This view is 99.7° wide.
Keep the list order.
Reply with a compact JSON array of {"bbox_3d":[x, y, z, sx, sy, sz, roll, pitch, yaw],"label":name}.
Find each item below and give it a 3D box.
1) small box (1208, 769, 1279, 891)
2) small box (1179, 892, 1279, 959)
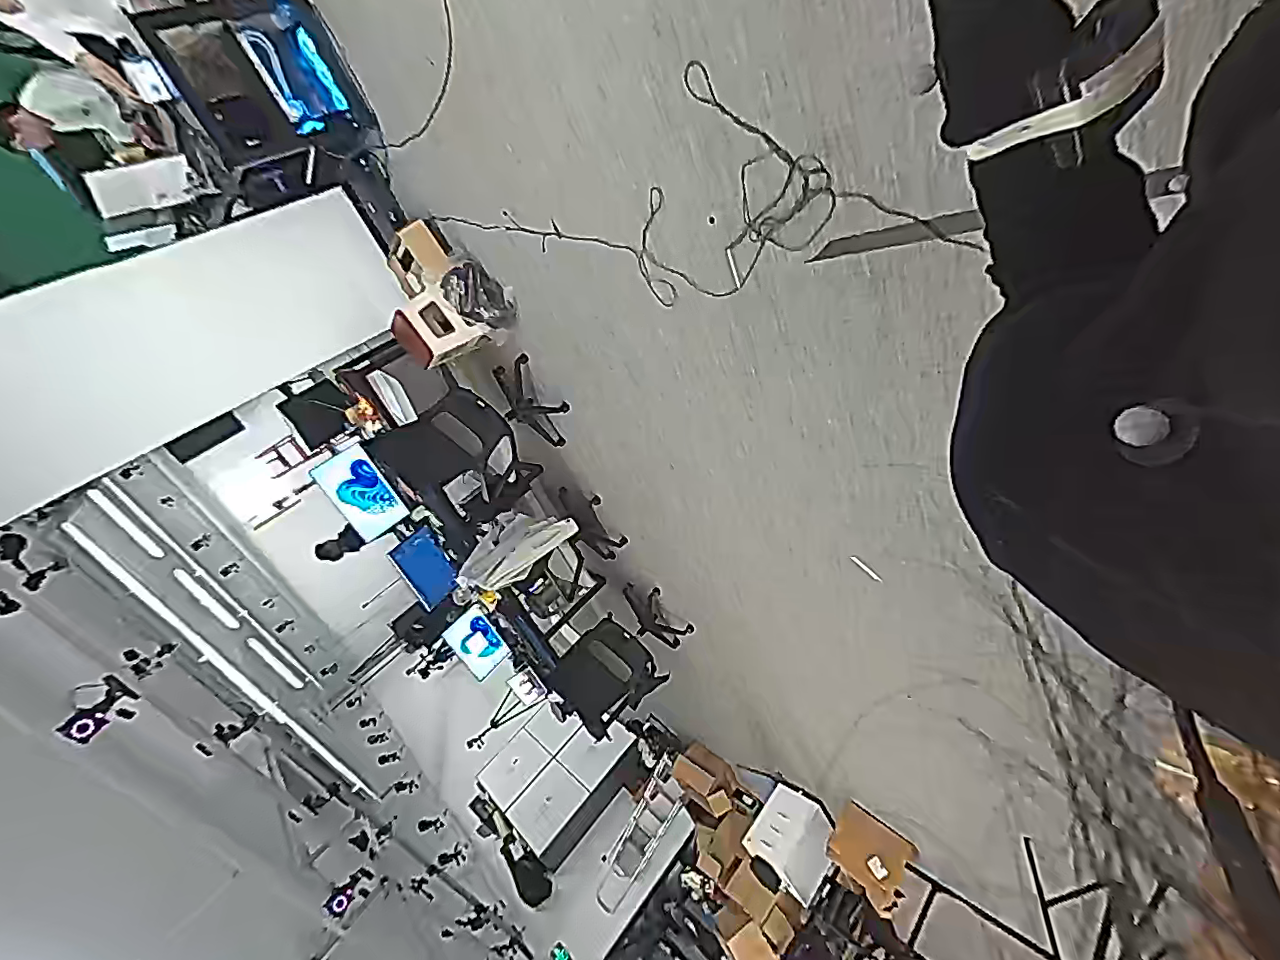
[{"bbox_3d":[1.467,0.824,1.268,0.168,0.176,0.179,9,134,51],"label":"small box"},{"bbox_3d":[1.244,1.018,1.122,0.168,0.176,0.179,10,134,49],"label":"small box"}]
